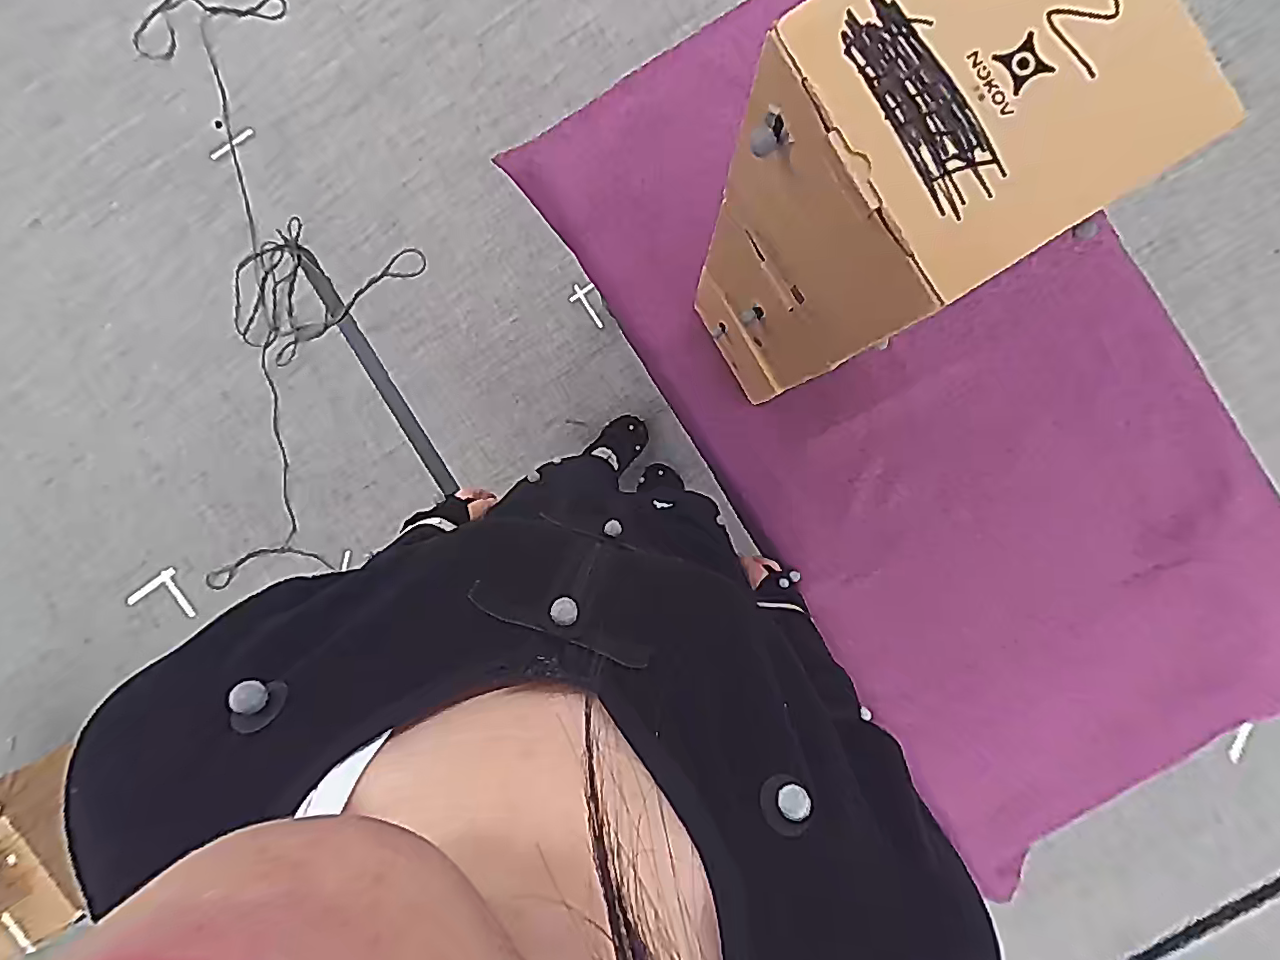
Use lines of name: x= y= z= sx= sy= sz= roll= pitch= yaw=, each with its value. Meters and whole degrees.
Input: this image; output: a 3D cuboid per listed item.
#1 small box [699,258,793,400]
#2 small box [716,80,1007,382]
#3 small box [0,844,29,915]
small box: x=0.186 y=-0.216 z=0.683 sx=0.179 sy=0.176 sz=0.168 roll=-31 pitch=92 yaw=2
small box: x=0.186 y=-0.212 z=0.519 sx=0.179 sy=0.176 sz=0.168 roll=-33 pitch=92 yaw=3
small box: x=-1.595 y=0.985 z=1.237 sx=0.179 sy=0.176 sz=0.168 roll=-35 pitch=92 yaw=3
